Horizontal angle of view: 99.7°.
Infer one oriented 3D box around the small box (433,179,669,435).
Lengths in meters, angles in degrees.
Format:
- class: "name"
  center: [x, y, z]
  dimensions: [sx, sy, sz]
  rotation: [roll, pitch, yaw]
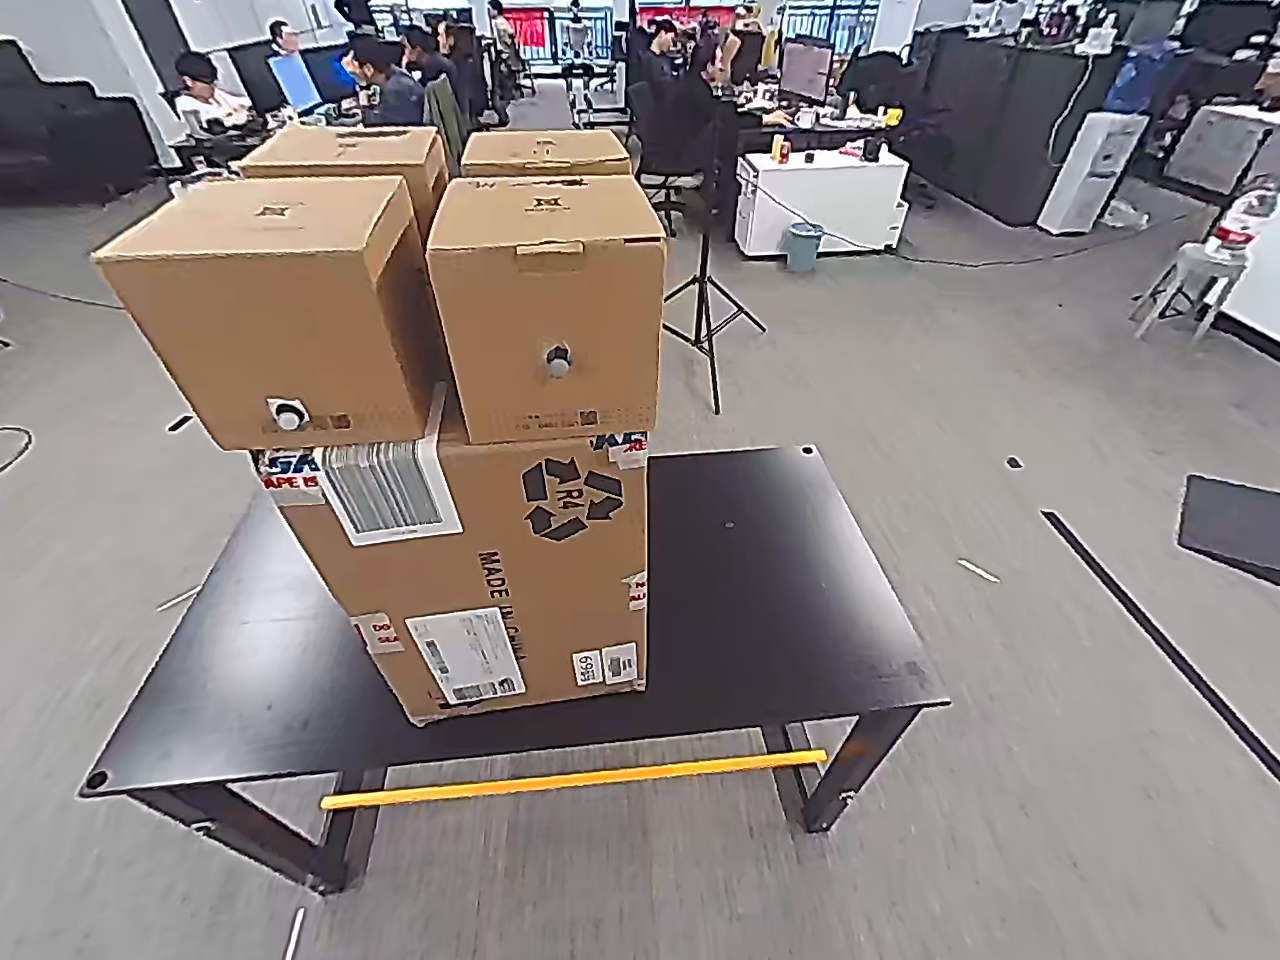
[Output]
- class: "small box"
  center: [-0.072, -0.152, 0.483]
  dimensions: [0.168, 0.176, 0.179]
  rotation: [-4, 44, -8]
